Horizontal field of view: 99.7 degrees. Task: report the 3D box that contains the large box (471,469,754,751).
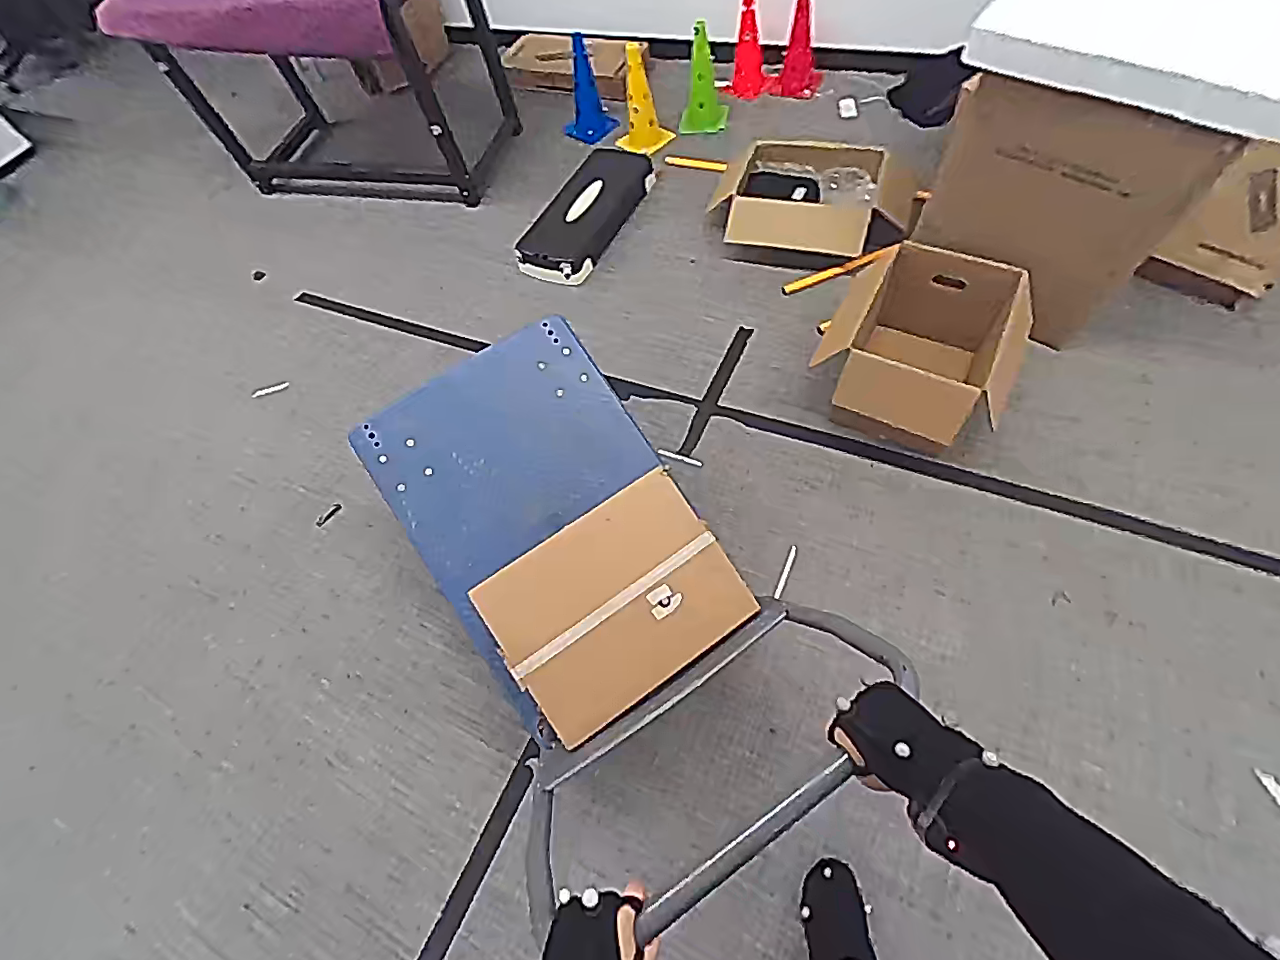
[{"bbox_3d":[-0.058,0.239,1.073,0.408,0.320,0.320,-34,86,-11],"label":"large box"}]
